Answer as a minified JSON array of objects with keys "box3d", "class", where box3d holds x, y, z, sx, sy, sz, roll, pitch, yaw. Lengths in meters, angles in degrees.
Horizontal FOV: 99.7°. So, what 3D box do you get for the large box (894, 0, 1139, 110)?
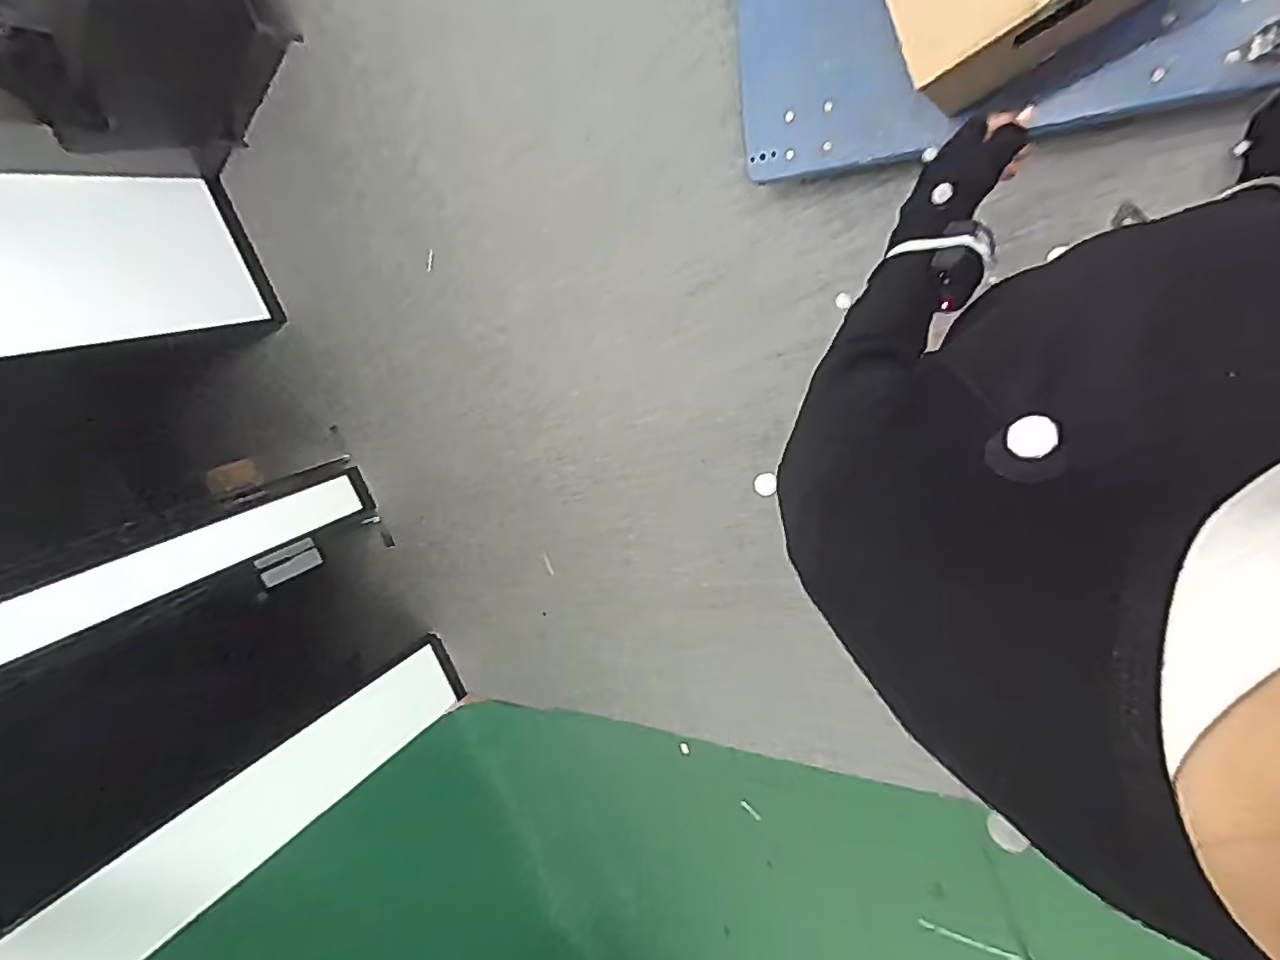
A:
[{"box3d":[0.512,-0.821,0.742,0.320,0.320,0.408,-16,102,41],"class":"large box"}]
